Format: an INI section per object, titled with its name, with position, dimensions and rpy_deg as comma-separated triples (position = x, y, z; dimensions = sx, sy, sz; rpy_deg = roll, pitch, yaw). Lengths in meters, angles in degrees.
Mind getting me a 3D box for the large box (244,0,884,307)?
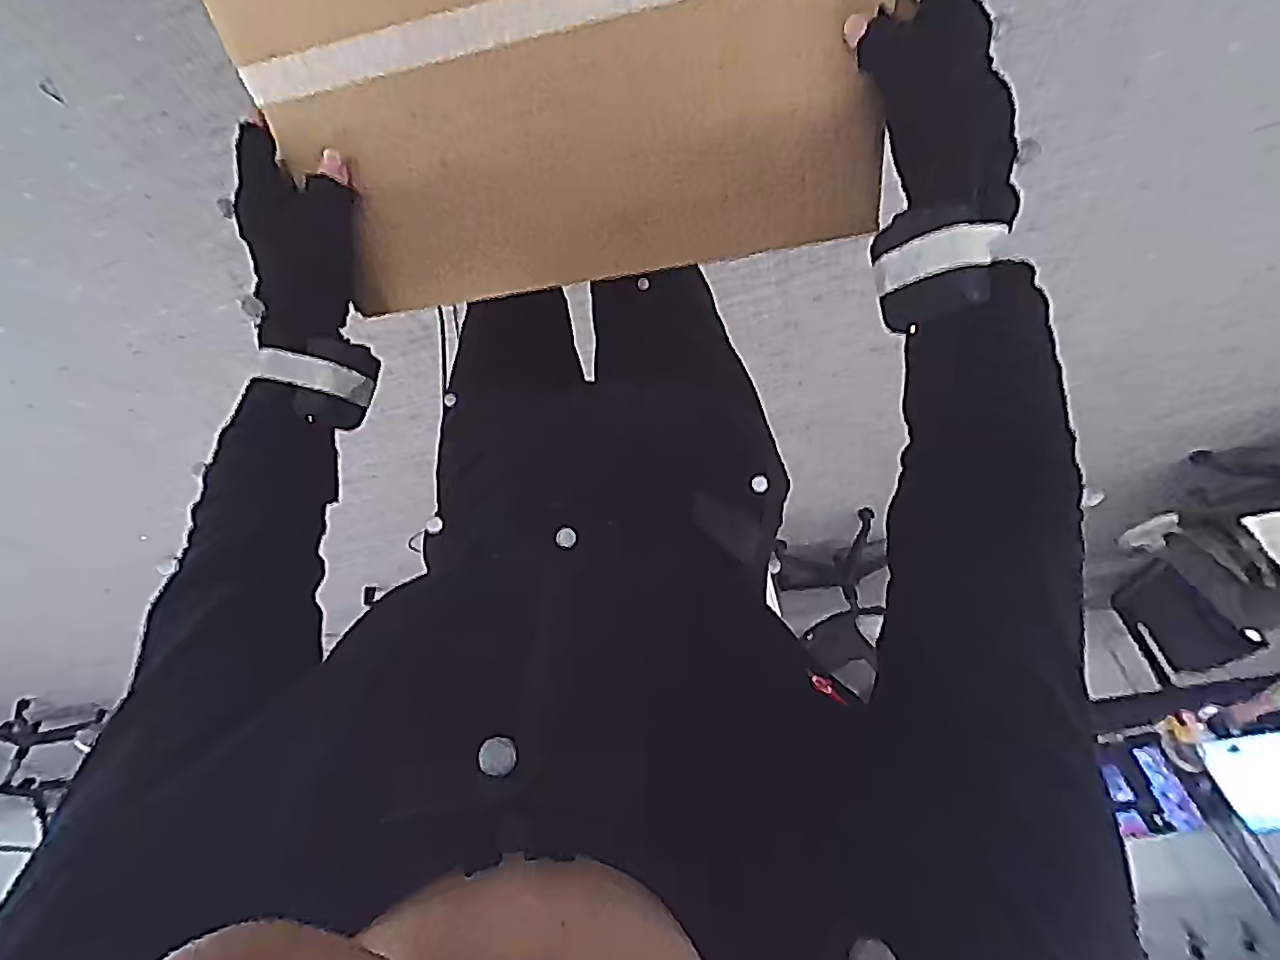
[large box]
position = -0.043, -0.375, 0.462
dimensions = 0.408, 0.320, 0.320
rpy_deg = -6, 125, 9
